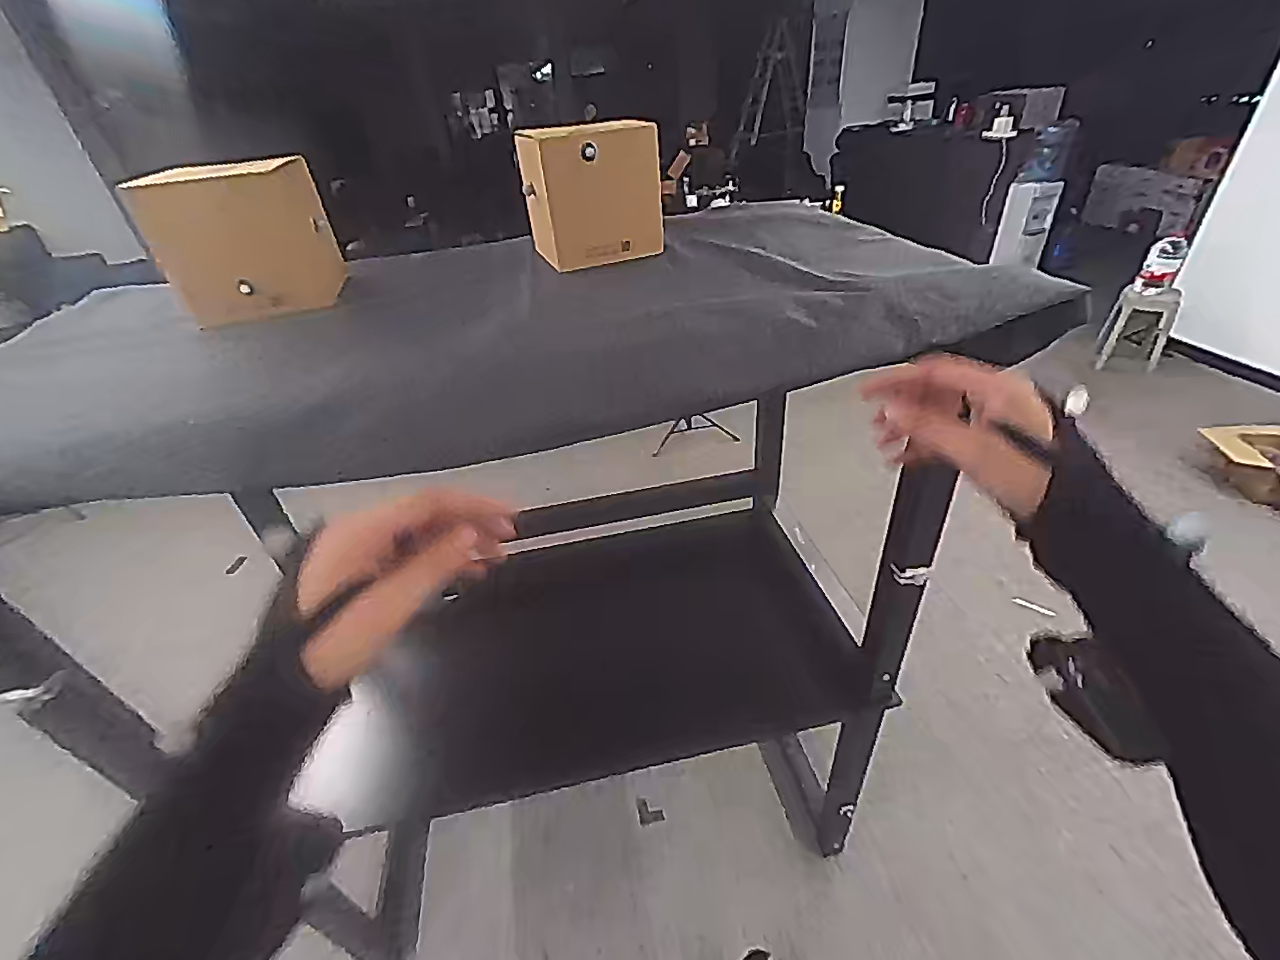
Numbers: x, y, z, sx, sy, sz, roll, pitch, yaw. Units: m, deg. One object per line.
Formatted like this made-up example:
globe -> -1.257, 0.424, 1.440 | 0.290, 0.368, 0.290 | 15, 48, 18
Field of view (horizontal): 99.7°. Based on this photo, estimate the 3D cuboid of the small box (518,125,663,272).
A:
small box -> -0.073, -0.421, 0.807 | 0.168, 0.176, 0.179 | -17, 37, -14
